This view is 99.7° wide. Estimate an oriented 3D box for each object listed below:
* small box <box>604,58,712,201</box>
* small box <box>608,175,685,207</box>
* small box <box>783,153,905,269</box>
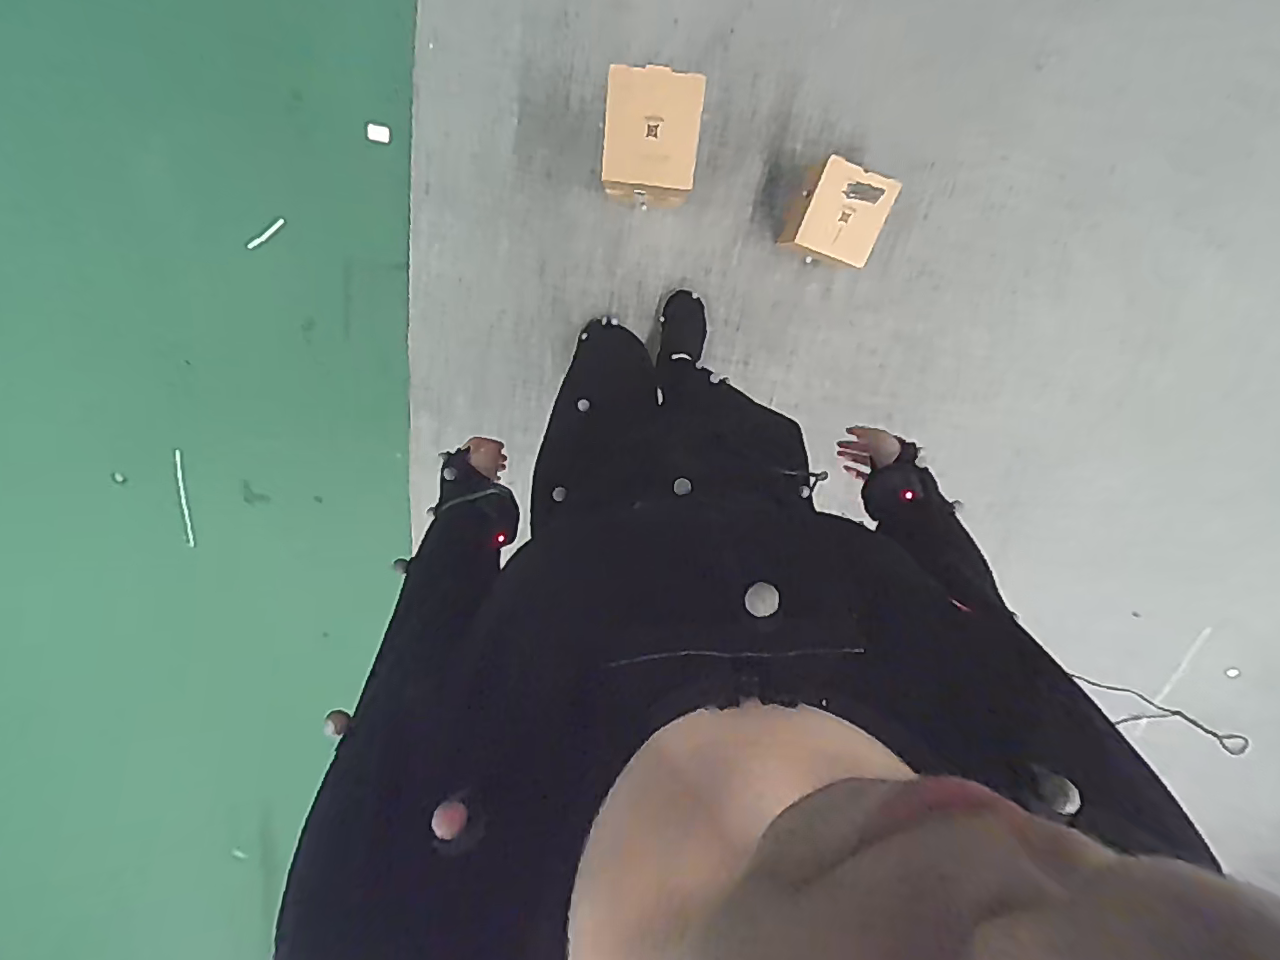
[{"bbox_3d":[0.030,-0.634,0.998,0.168,0.176,0.179,8,110,-1],"label":"small box"},{"bbox_3d":[0.022,-0.692,1.147,0.168,0.176,0.179,5,112,-2],"label":"small box"},{"bbox_3d":[0.434,-0.582,1.189,0.168,0.176,0.179,18,112,-6],"label":"small box"}]
